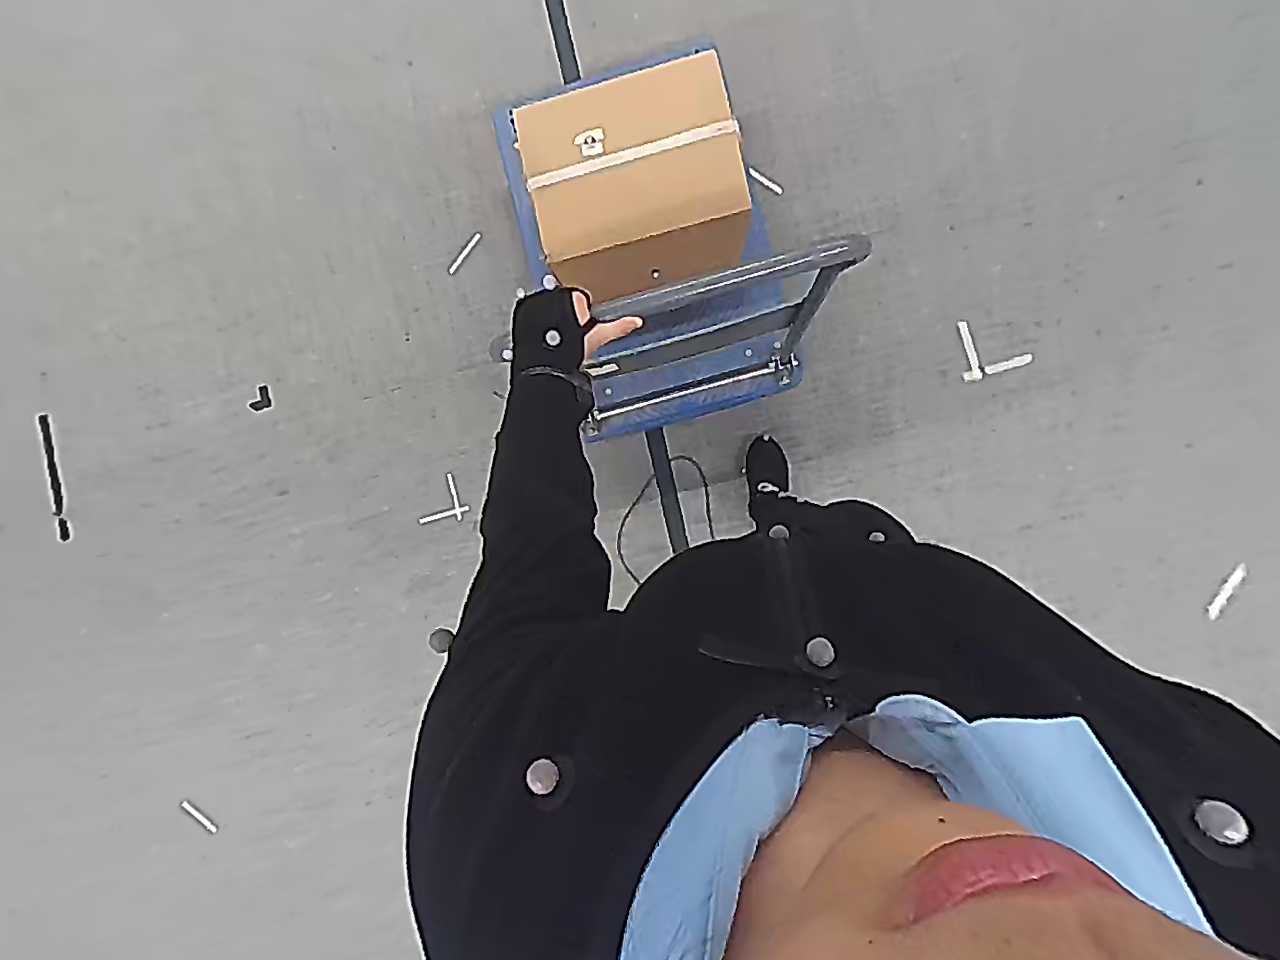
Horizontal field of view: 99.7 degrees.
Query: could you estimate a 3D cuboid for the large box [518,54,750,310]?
[{"bbox_3d":[0.001,-0.615,1.190,0.408,0.320,0.320,-13,88,7],"label":"large box"}]
